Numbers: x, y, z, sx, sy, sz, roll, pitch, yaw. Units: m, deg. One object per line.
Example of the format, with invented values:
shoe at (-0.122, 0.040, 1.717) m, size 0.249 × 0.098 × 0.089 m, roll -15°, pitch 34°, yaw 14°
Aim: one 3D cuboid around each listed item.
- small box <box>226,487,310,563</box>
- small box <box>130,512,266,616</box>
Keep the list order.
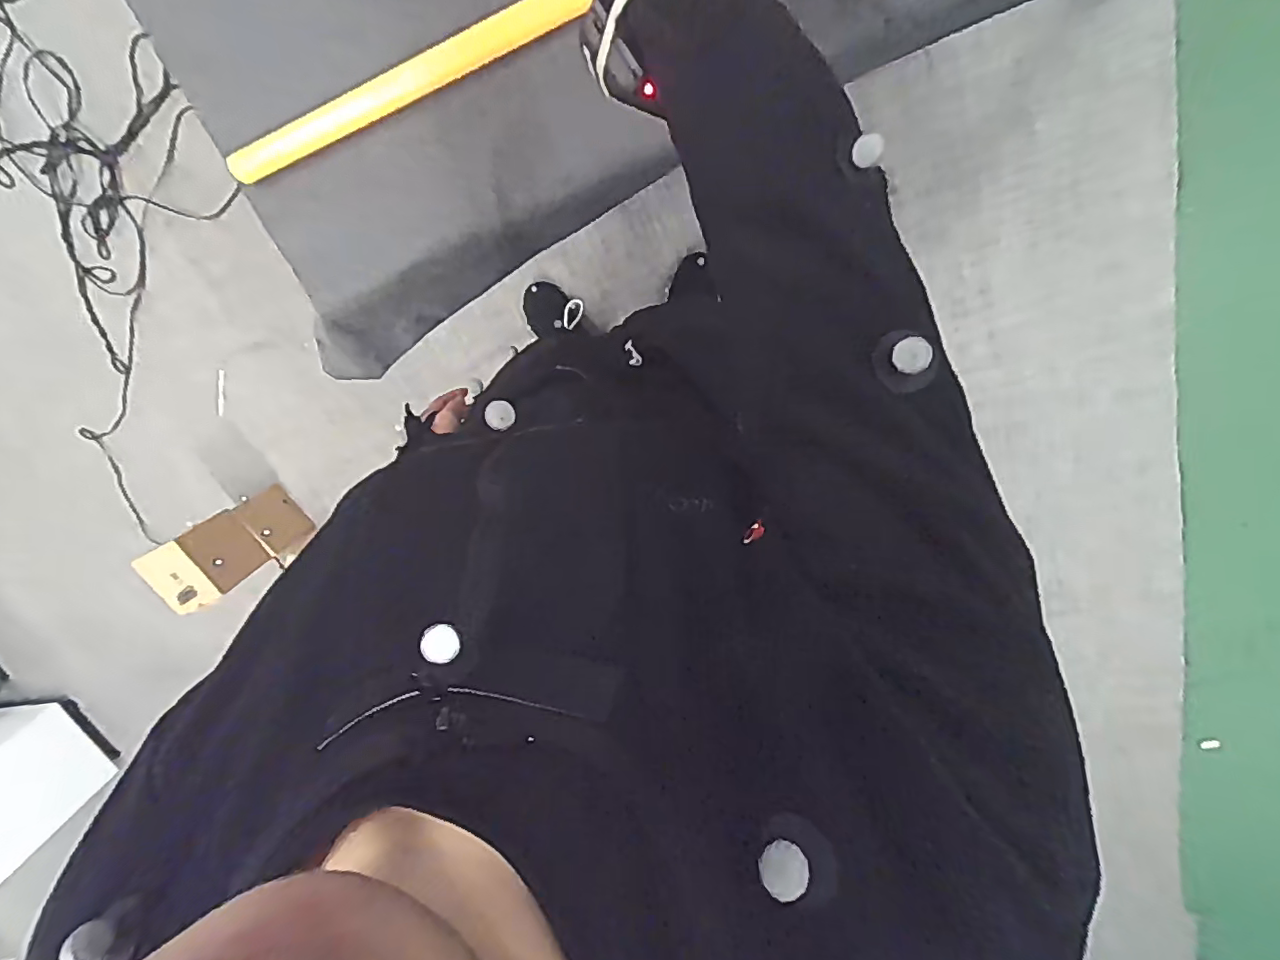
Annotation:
small box at (-1.097, 0.150, 1.542) m, size 0.179 × 0.176 × 0.168 m, roll -27°, pitch 109°, yaw 18°
small box at (-1.124, 0.213, 1.392) m, size 0.168 × 0.176 × 0.179 m, roll -23°, pitch 110°, yaw 16°
